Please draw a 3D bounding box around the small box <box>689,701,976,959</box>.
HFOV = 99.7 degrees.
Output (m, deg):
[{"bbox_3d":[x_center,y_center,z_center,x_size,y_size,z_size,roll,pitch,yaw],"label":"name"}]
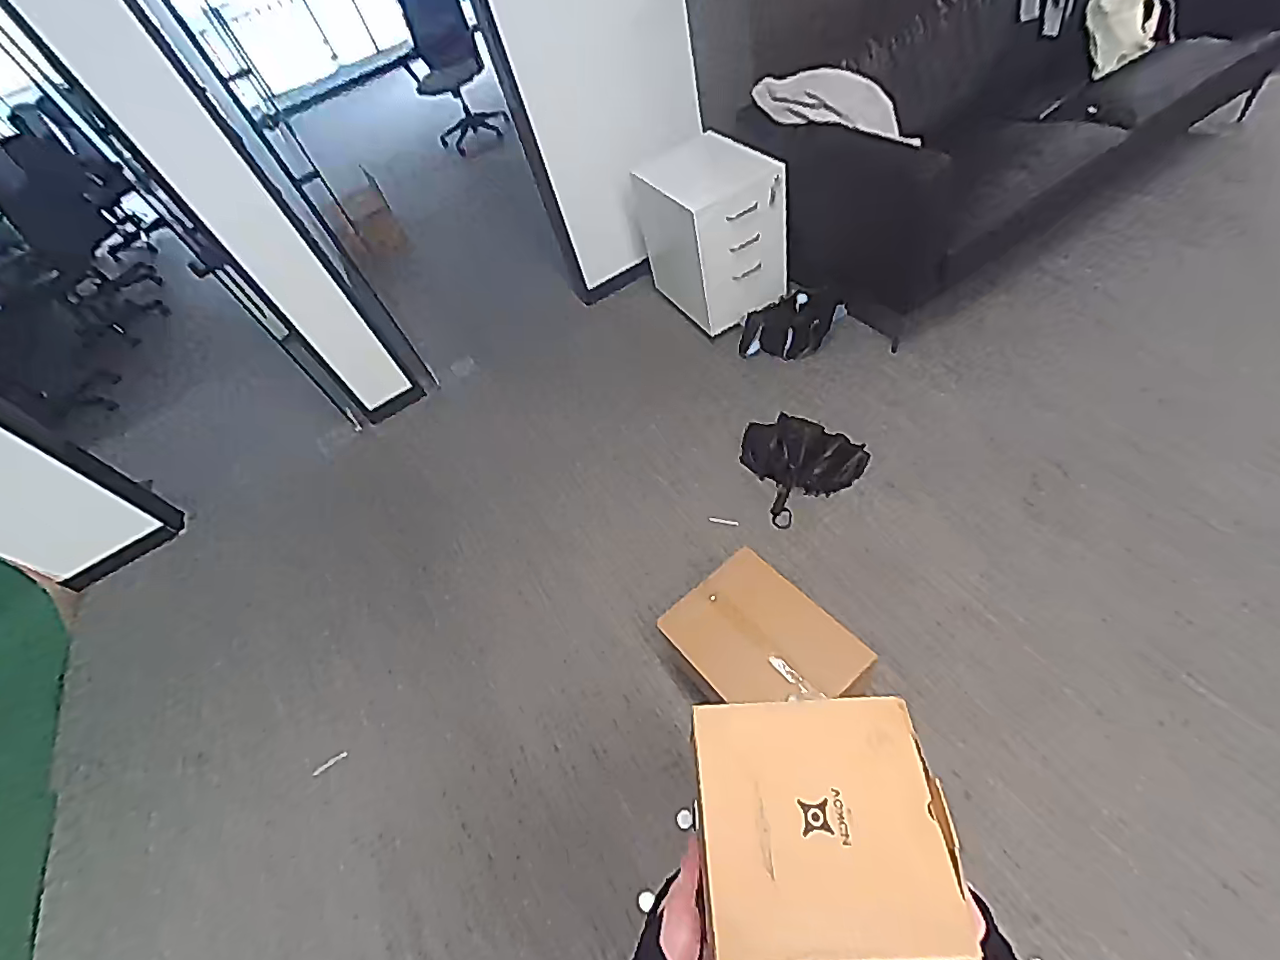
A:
[{"bbox_3d":[0.136,0.299,0.463,0.179,0.176,0.168,-4,53,2],"label":"small box"}]
